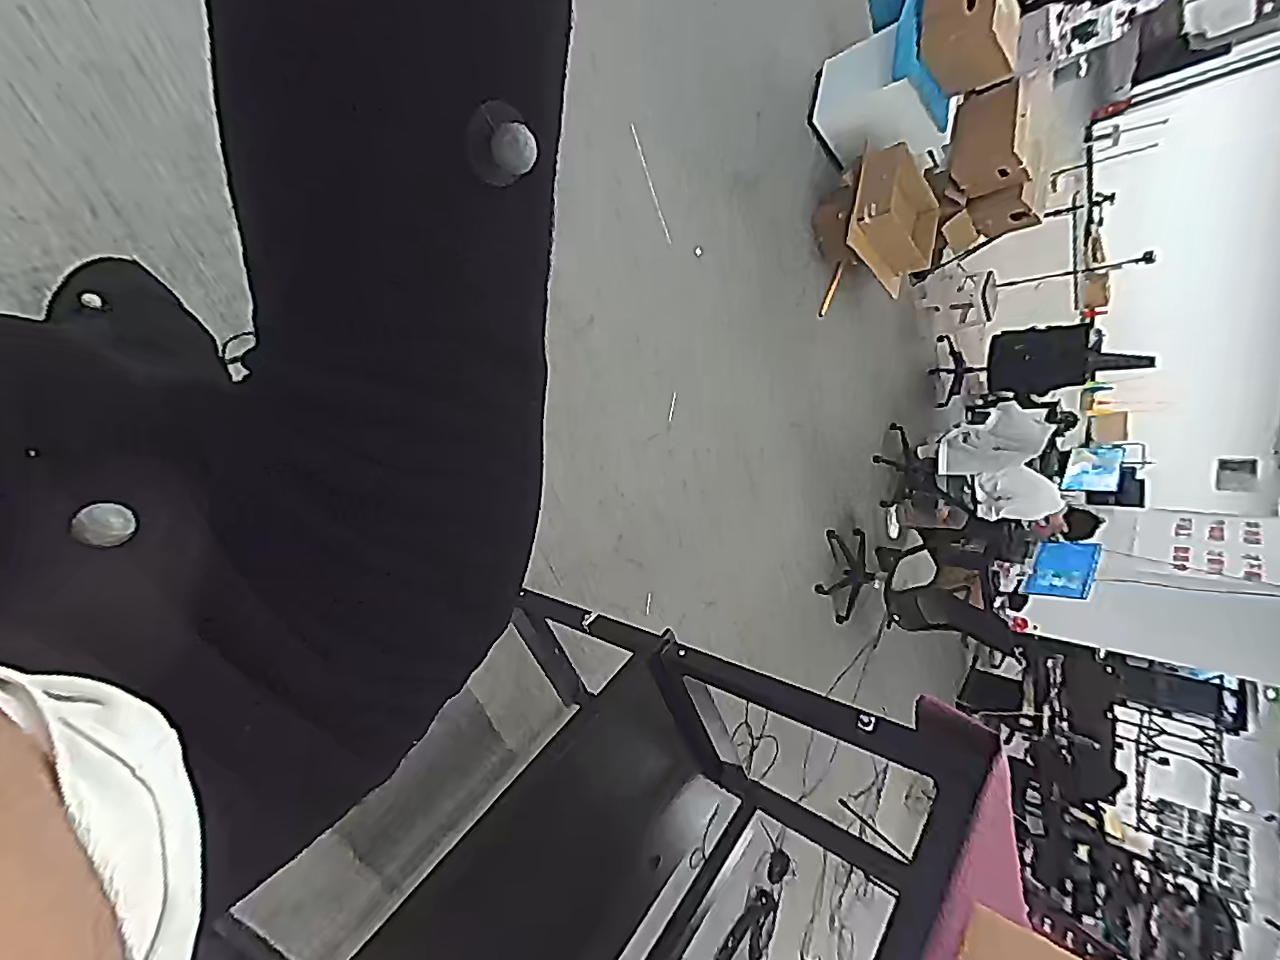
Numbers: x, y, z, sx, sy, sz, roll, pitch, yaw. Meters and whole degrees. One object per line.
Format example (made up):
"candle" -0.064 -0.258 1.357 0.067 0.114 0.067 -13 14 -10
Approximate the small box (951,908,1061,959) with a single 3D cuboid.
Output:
"small box" 0.511 0.739 0.726 0.179 0.176 0.168 -42 120 -33
